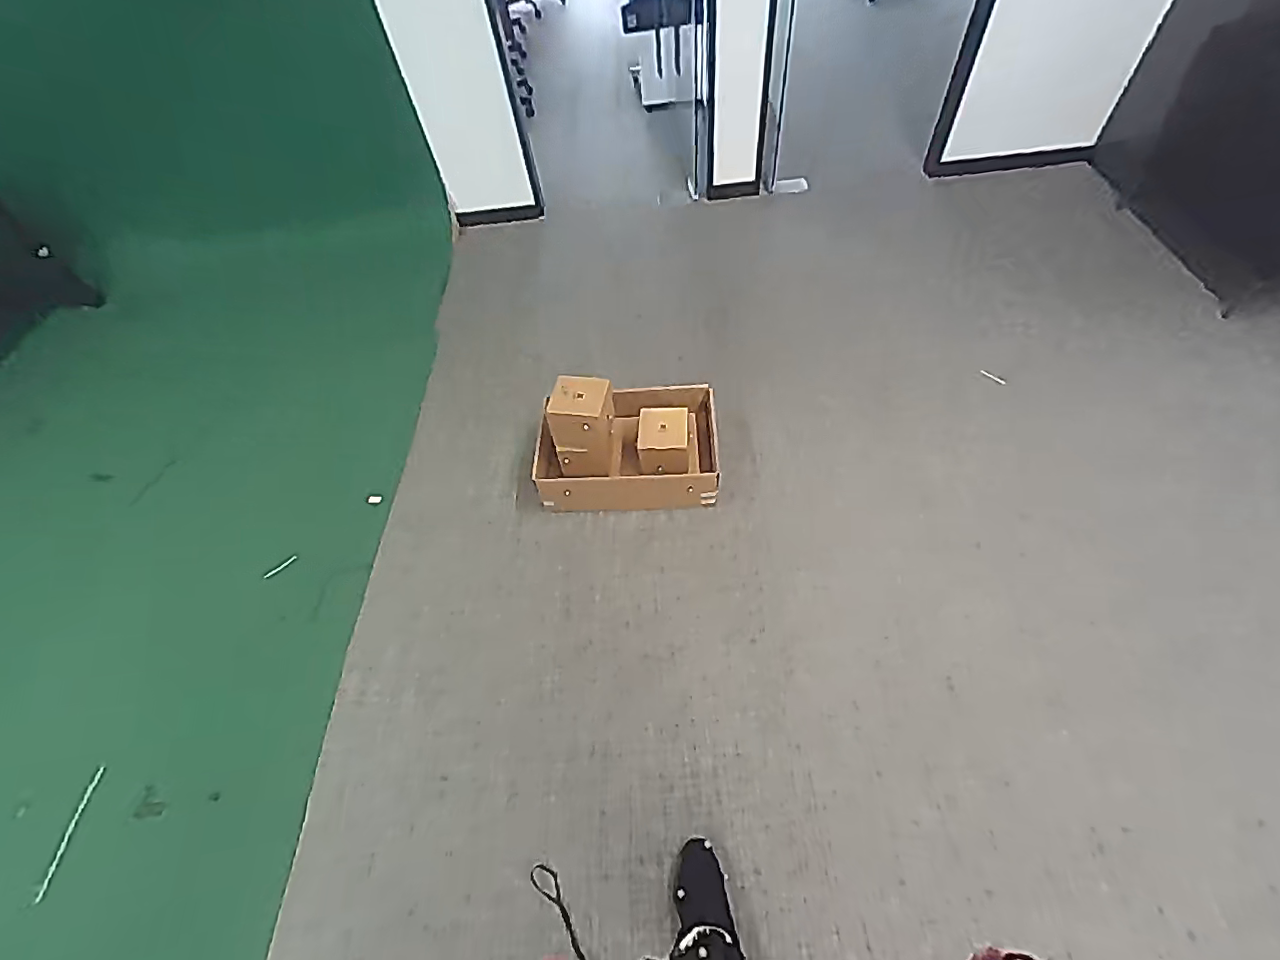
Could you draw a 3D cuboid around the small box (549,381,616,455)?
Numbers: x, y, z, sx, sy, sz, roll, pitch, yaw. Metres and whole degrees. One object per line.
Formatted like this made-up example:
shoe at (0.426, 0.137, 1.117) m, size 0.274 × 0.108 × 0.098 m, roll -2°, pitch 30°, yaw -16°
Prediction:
small box at (-0.180, -0.199, 1.769) m, size 0.179 × 0.176 × 0.168 m, roll 6°, pitch 55°, yaw 9°
